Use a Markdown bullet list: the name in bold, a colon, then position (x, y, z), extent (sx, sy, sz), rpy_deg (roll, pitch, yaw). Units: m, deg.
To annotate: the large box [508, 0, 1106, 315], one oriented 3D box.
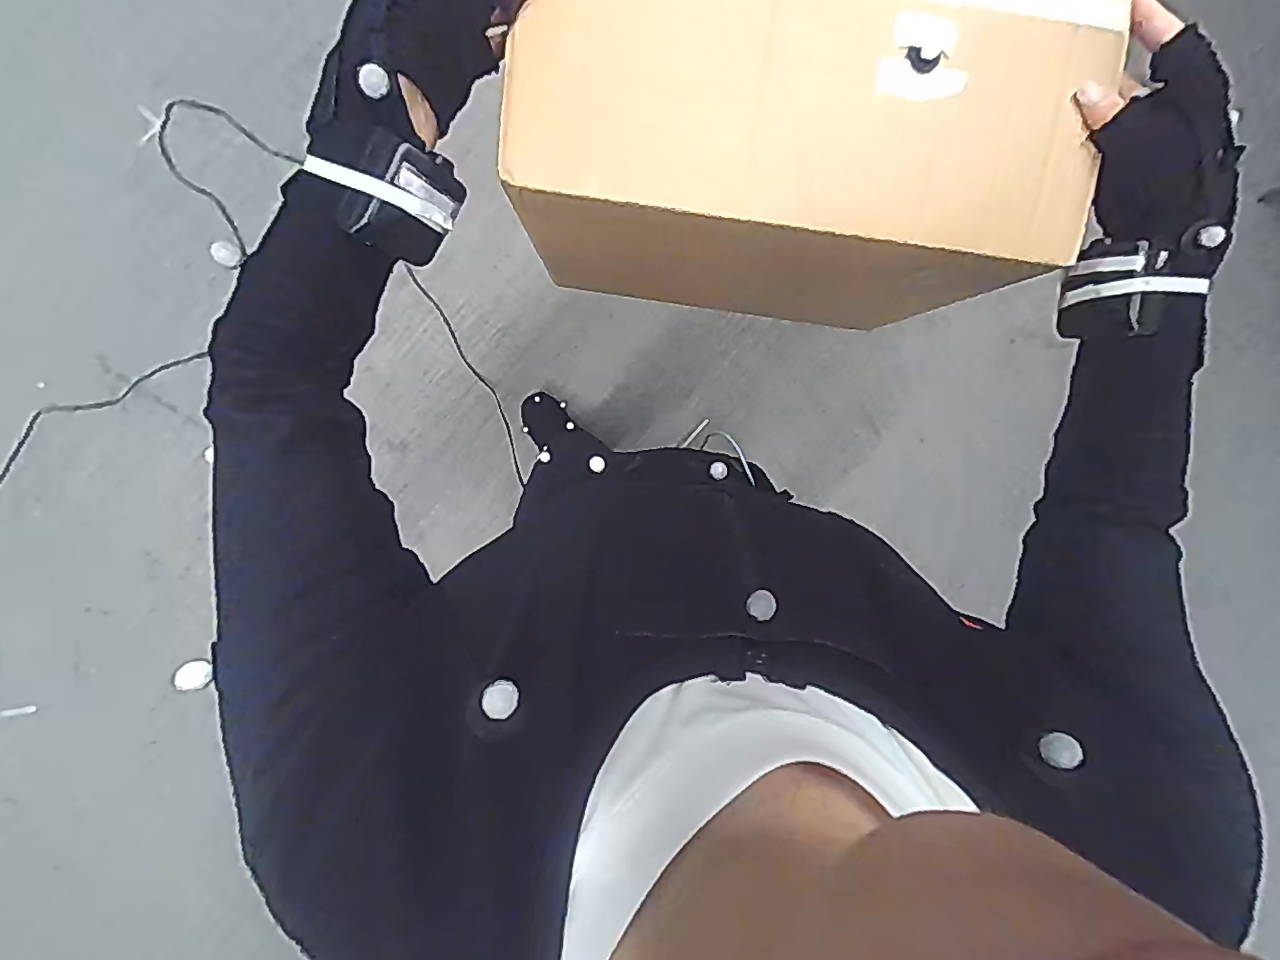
- **large box**: position (0.112, -0.355, 0.508), extent (0.408, 0.320, 0.320), rpy_deg (6, 98, -3)
